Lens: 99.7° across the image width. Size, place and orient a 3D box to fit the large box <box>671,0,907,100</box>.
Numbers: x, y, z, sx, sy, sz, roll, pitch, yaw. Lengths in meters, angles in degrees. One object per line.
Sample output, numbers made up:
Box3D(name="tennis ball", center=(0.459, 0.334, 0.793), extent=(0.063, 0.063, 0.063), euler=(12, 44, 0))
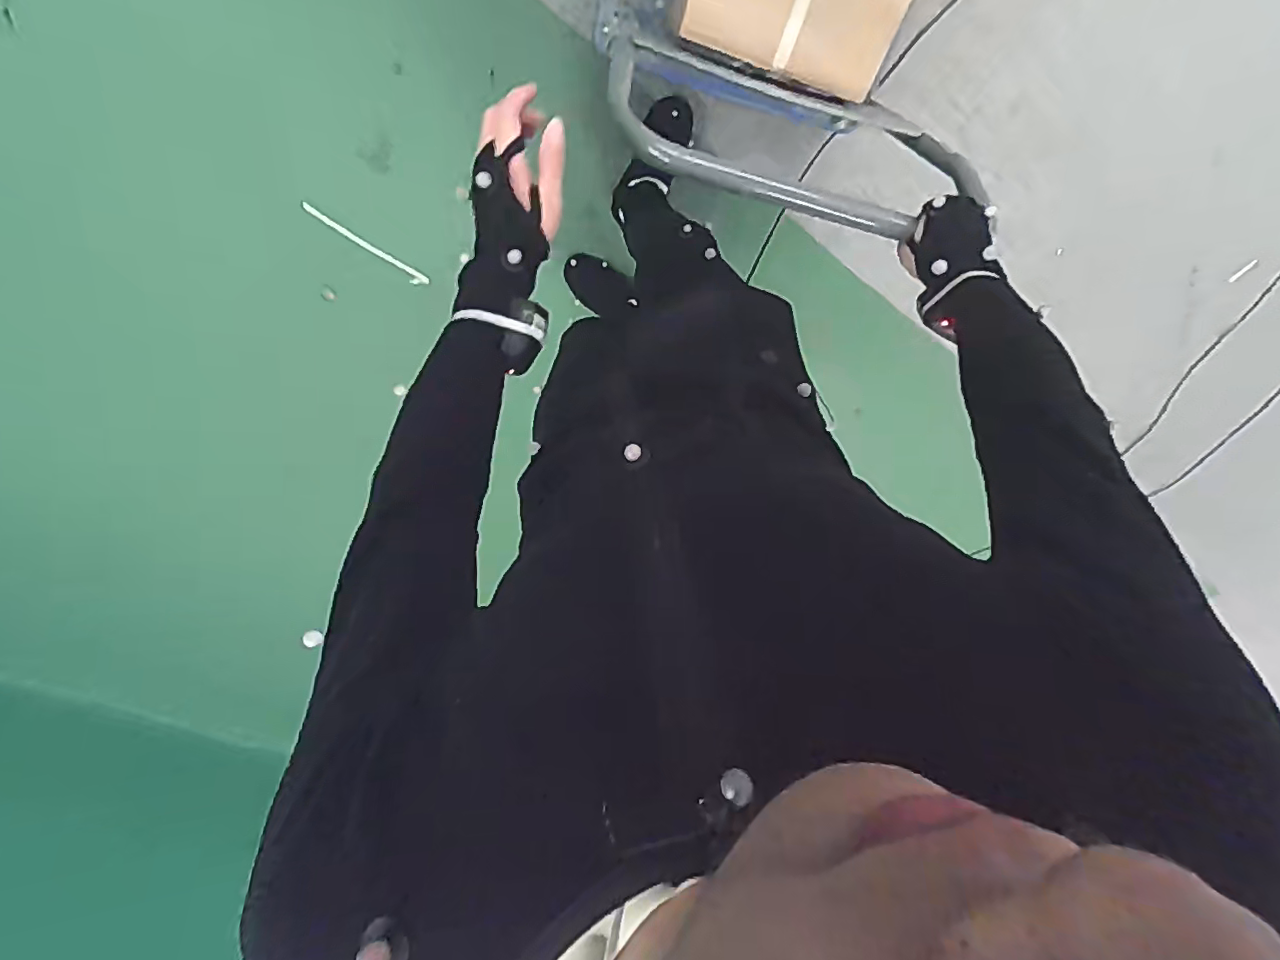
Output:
Box3D(name="large box", center=(0.253, -0.868, 0.821), extent=(0.320, 0.320, 0.408), euler=(11, 129, -12))
